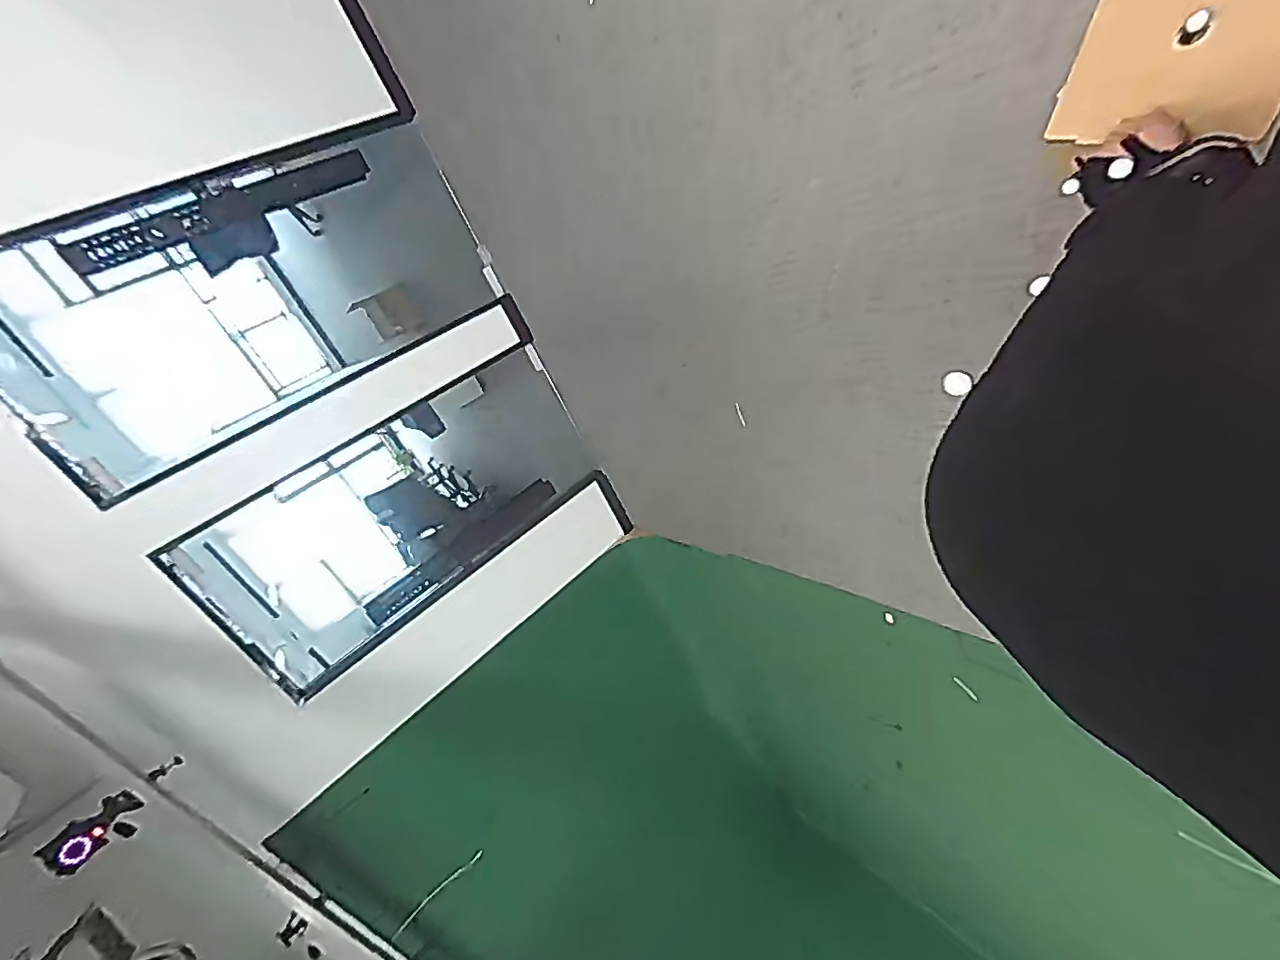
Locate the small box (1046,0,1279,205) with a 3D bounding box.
[{"bbox_3d":[0.544,-0.400,0.551,0.168,0.179,0.176,24,109,34],"label":"small box"}]
